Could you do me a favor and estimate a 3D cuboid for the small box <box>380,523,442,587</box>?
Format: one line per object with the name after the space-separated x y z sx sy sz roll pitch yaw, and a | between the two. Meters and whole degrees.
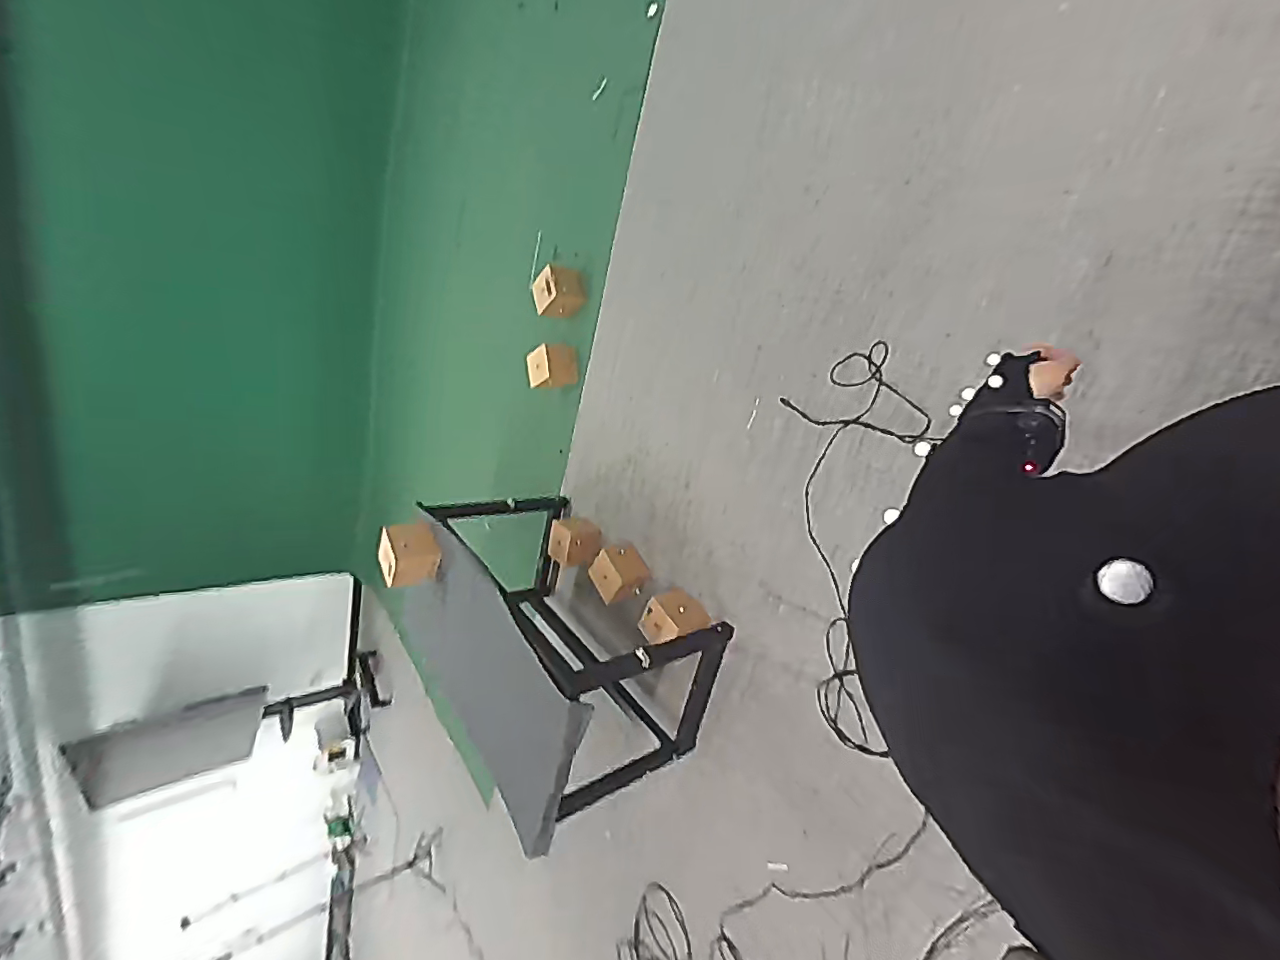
-0.884 0.283 2.087 0.179 0.176 0.168 53 130 30 | small box

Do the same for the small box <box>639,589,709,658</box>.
0.134 0.541 2.063 0.179 0.176 0.168 45 123 36 | small box

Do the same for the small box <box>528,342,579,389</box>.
-0.421 -0.550 2.631 0.179 0.176 0.168 -18 78 46 | small box

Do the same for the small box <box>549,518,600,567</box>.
-0.305 0.287 2.538 0.168 0.176 0.179 26 111 45 | small box

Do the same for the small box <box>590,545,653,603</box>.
-0.078 0.391 2.293 0.179 0.176 0.168 53 129 31 | small box
